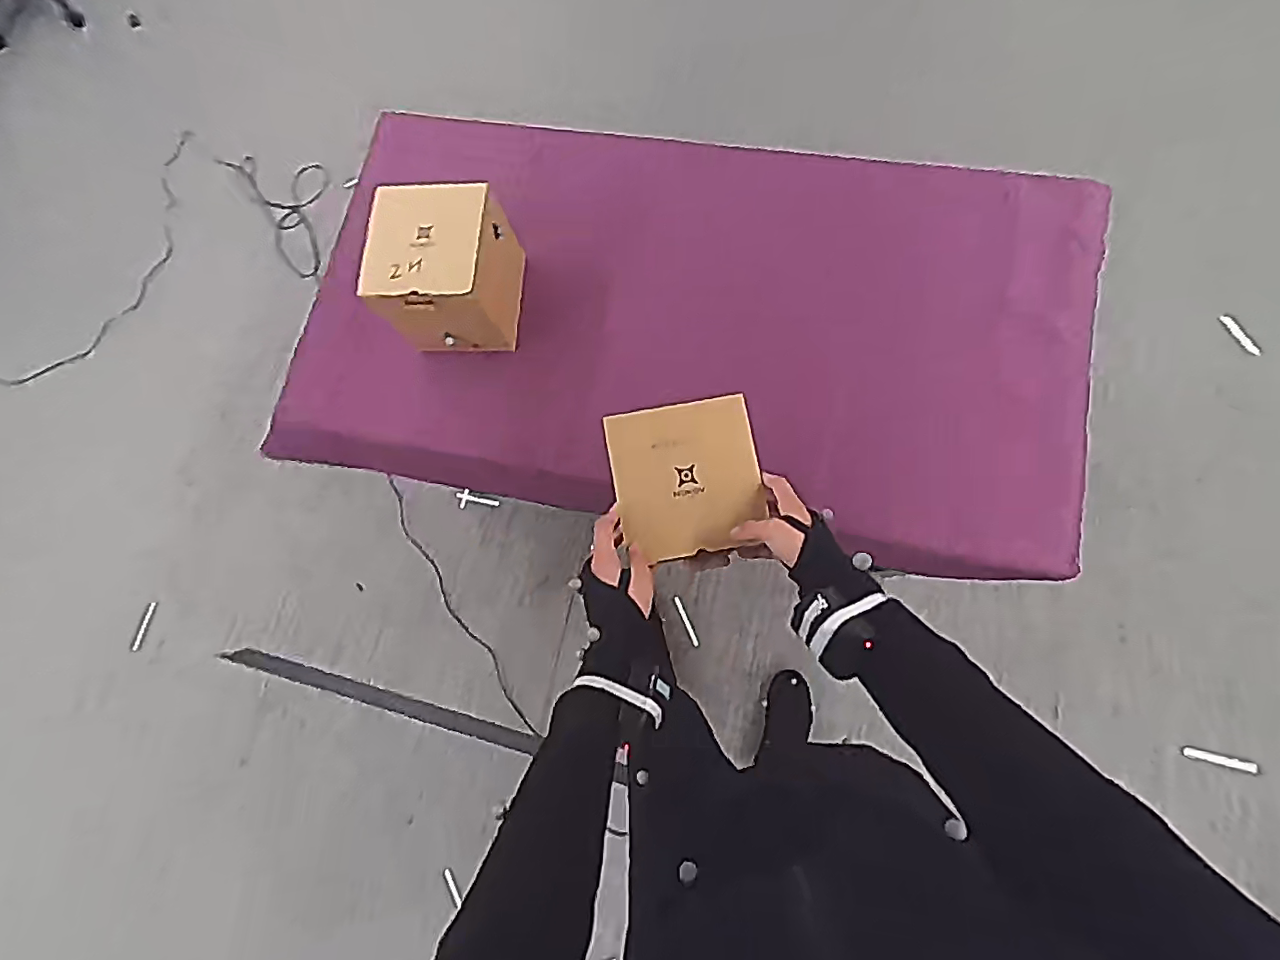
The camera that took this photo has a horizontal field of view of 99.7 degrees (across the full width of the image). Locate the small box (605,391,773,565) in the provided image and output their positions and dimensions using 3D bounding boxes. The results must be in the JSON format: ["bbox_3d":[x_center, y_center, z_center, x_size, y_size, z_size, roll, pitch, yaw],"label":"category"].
[{"bbox_3d":[0.054,0.008,0.674,0.168,0.176,0.179,-9,80,-2],"label":"small box"}]

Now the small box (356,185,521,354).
[{"bbox_3d":[-0.286,-0.307,0.810,0.168,0.176,0.179,2,78,7],"label":"small box"}]
